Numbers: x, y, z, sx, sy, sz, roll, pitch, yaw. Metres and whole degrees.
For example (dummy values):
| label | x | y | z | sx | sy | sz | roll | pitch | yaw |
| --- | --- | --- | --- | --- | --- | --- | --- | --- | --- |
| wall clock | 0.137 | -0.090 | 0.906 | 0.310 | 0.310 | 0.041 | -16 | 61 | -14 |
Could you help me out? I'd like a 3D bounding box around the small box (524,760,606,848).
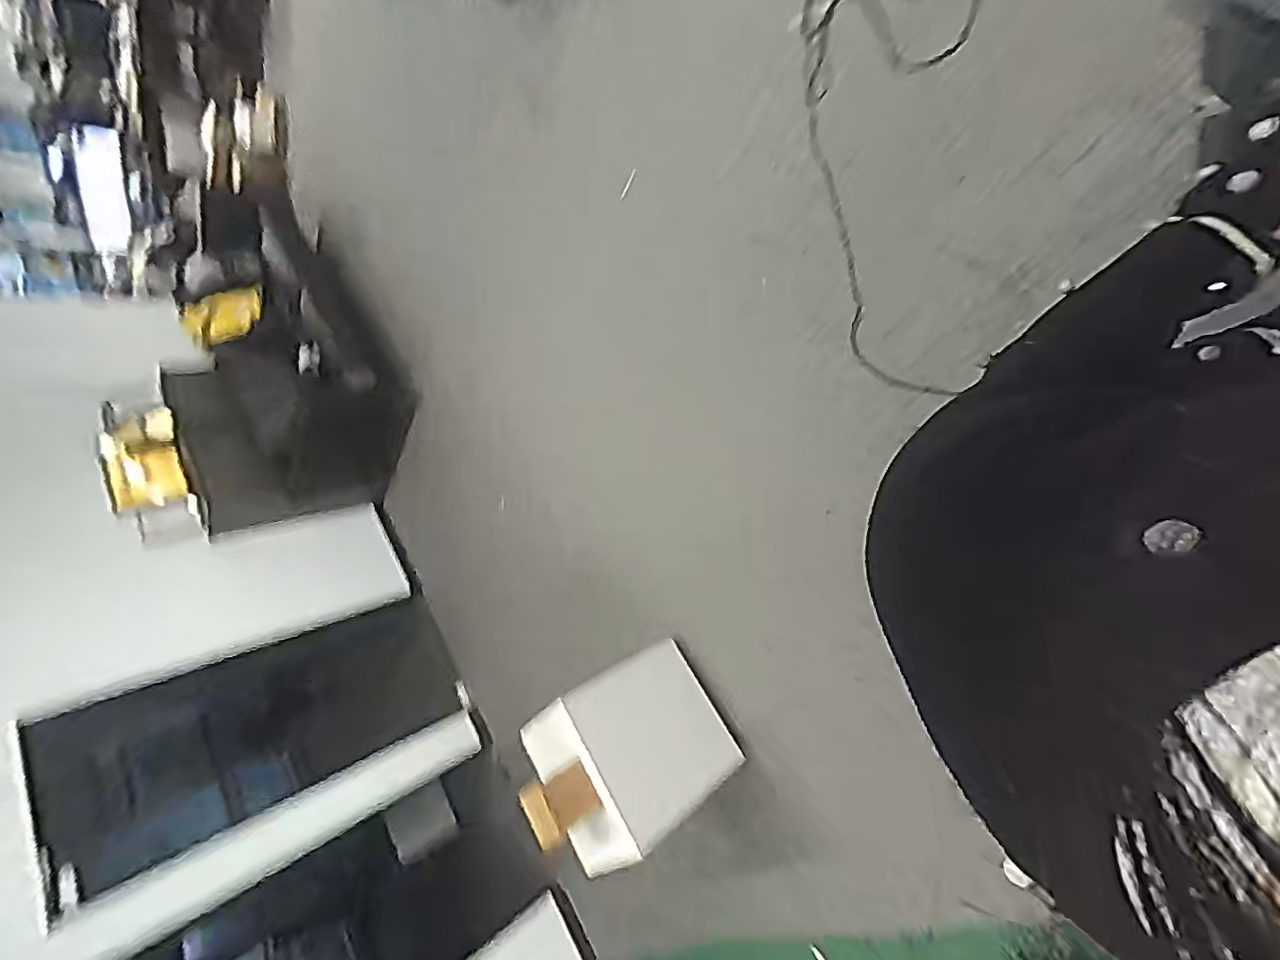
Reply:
| label | x | y | z | sx | sy | sz | roll | pitch | yaw |
| --- | --- | --- | --- | --- | --- | --- | --- | --- | --- |
| small box | -0.238 | 1.032 | 1.728 | 0.168 | 0.176 | 0.179 | 55 | 133 | 21 |
